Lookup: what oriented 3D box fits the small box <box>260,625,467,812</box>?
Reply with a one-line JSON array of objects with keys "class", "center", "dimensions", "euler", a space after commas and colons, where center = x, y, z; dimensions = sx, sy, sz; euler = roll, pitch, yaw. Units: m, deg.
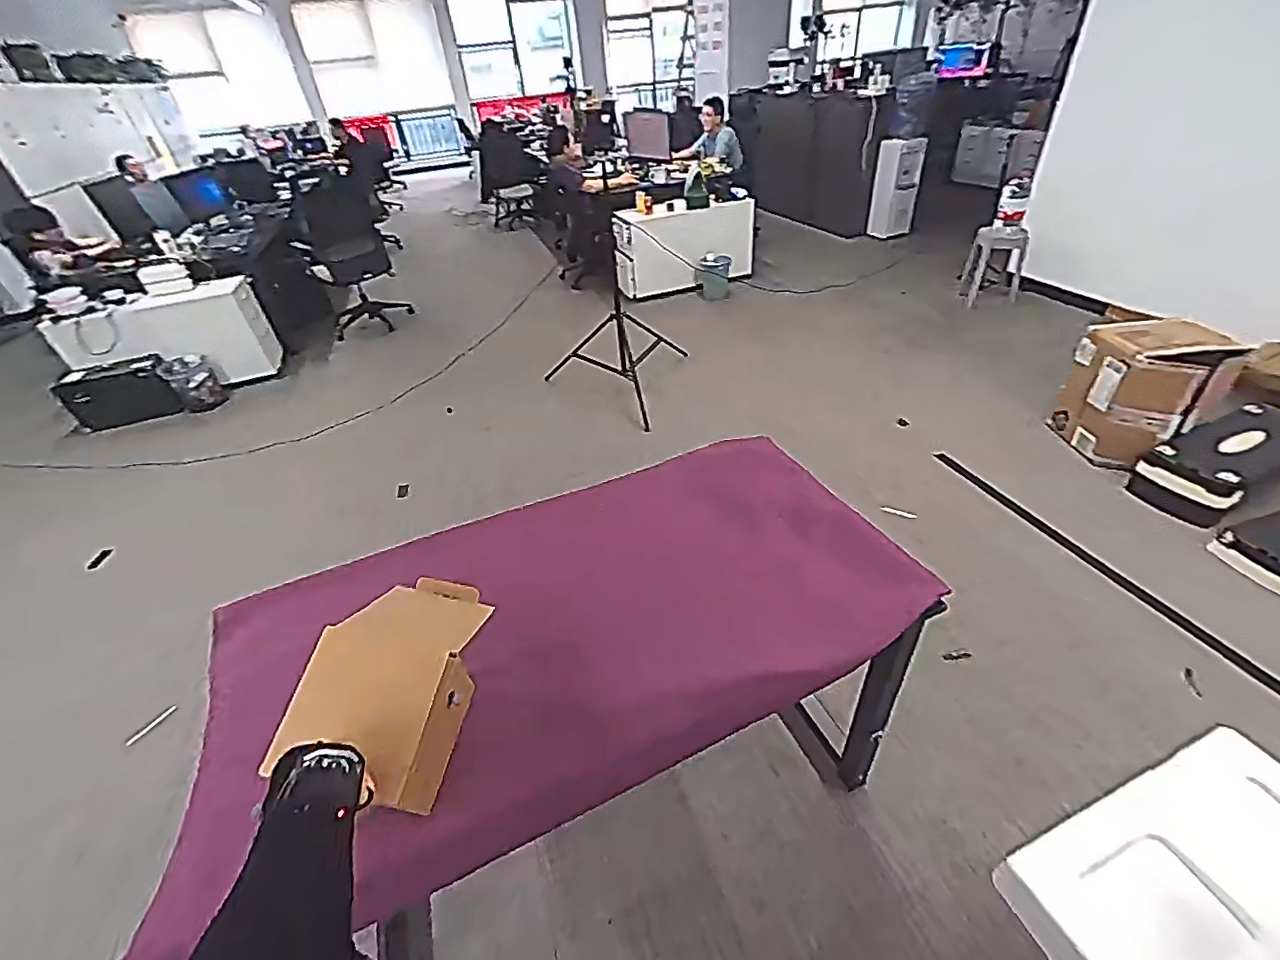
[{"class": "small box", "center": [-0.343, 0.321, 0.718], "dimensions": [0.168, 0.176, 0.179], "euler": [13, 55, 1]}]
